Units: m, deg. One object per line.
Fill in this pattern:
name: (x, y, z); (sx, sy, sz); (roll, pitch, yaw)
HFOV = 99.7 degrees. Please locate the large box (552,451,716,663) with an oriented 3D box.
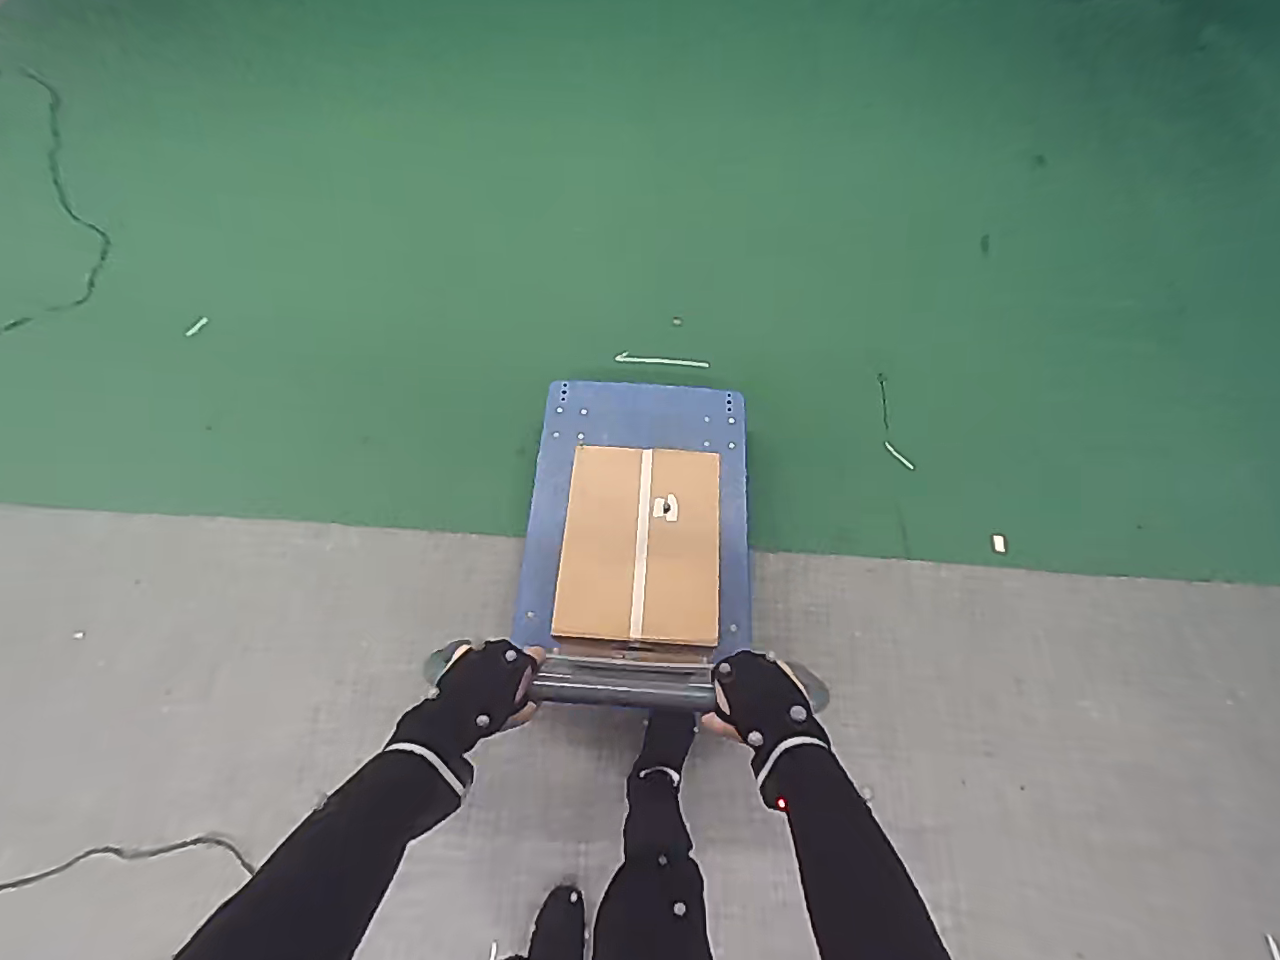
large box: (-0.003, 0.187, 1.226); (0.320, 0.320, 0.408); (4, 65, 1)
